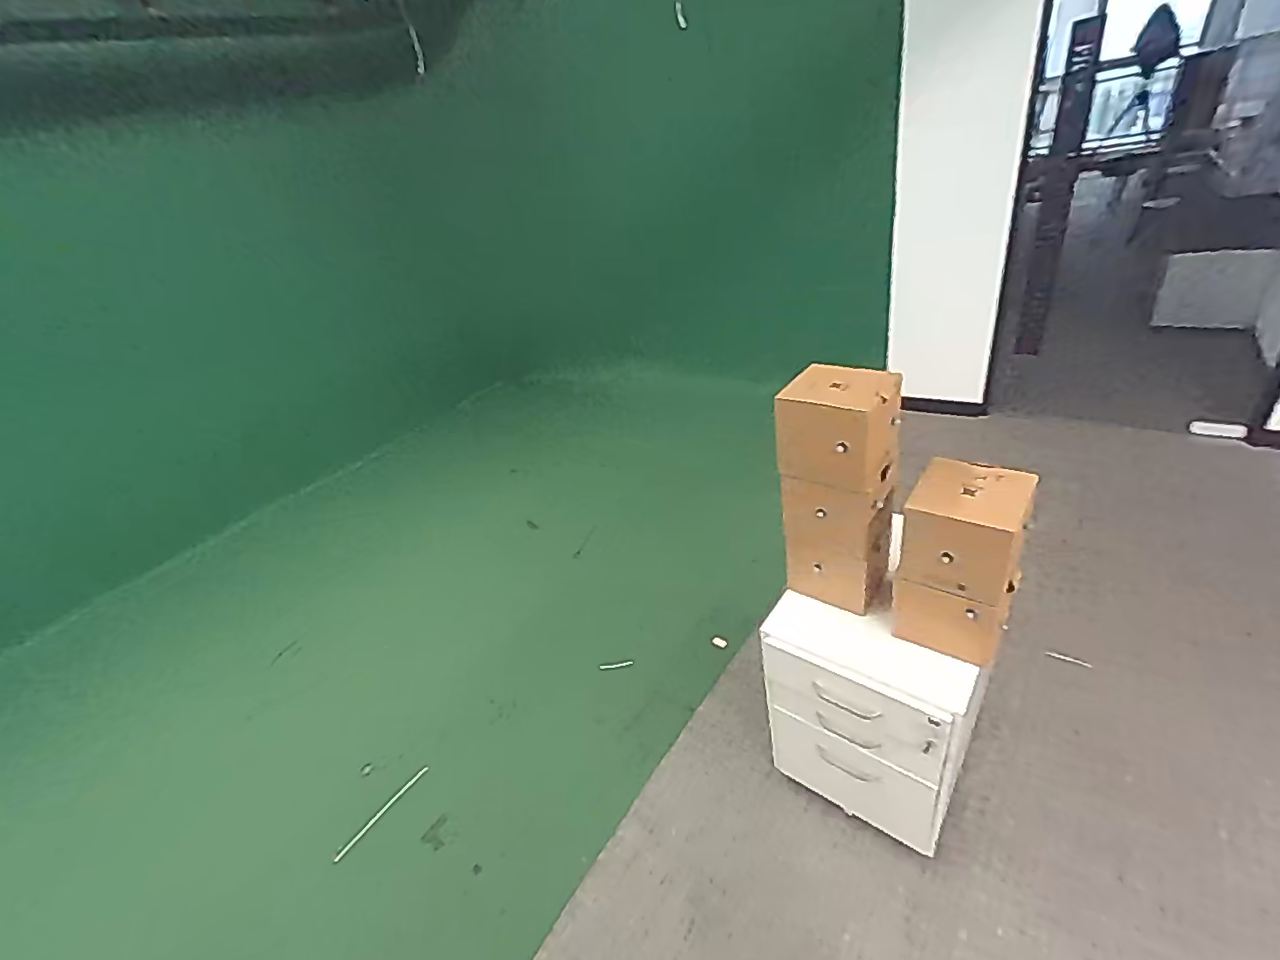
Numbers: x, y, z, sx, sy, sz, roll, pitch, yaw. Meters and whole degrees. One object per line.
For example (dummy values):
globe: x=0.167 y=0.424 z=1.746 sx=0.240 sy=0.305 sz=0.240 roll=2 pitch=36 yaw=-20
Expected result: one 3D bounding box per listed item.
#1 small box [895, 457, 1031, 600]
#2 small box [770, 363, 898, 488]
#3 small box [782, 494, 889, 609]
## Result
small box: x=0.572 y=0.085 z=0.971 sx=0.168 sy=0.176 sz=0.179 roll=17 pitch=43 yaw=37
small box: x=0.367 y=-0.105 z=1.026 sx=0.179 sy=0.176 sz=0.168 roll=17 pitch=41 yaw=37
small box: x=0.435 y=0.159 z=1.210 sx=0.179 sy=0.176 sz=0.168 roll=17 pitch=43 yaw=35
